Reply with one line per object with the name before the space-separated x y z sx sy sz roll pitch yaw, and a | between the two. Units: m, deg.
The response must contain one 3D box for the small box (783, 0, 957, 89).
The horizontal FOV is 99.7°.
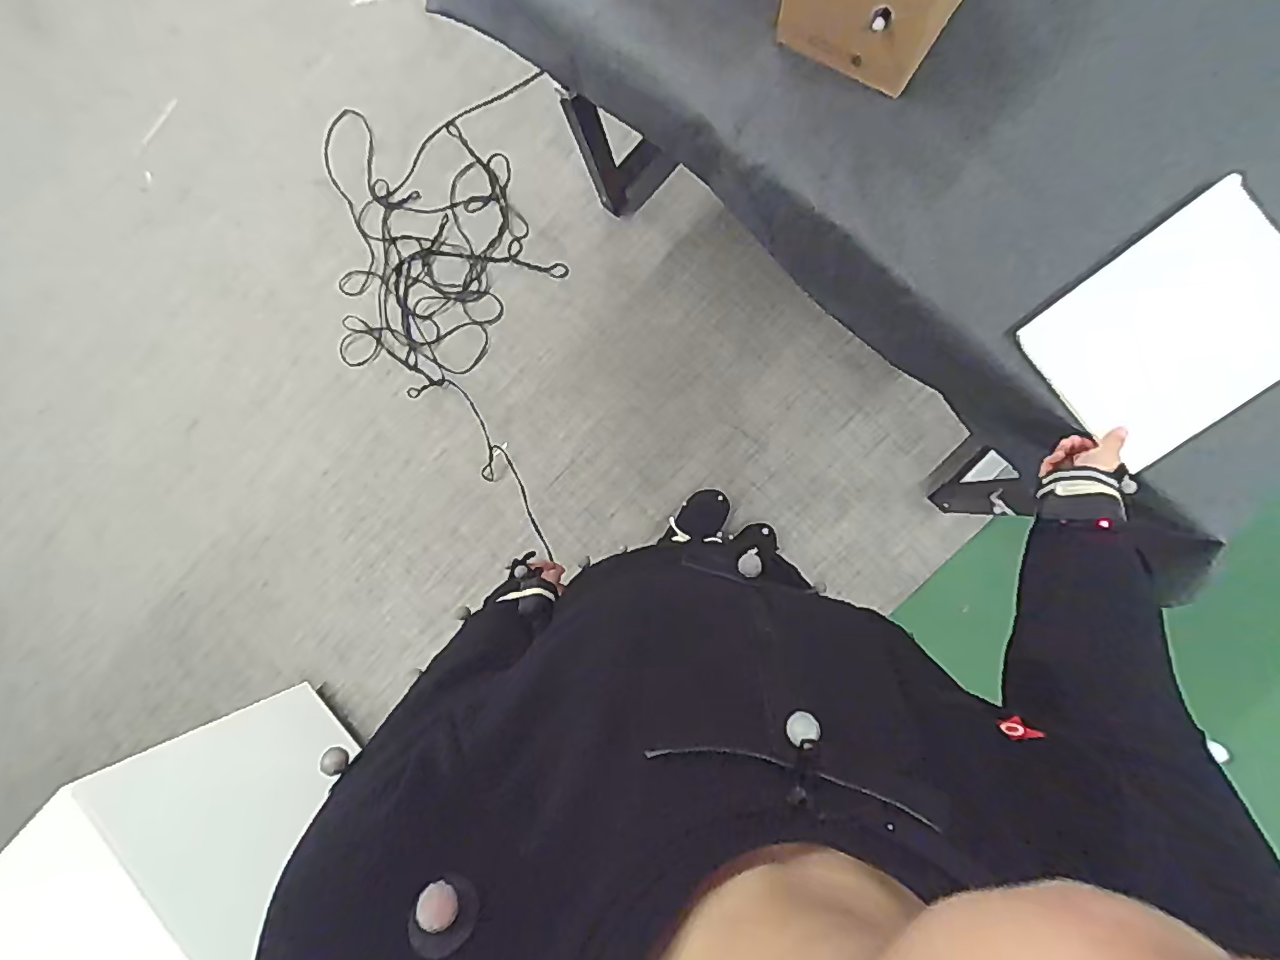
small box | 0.266 -0.566 0.562 0.168 0.176 0.179 33 91 7
